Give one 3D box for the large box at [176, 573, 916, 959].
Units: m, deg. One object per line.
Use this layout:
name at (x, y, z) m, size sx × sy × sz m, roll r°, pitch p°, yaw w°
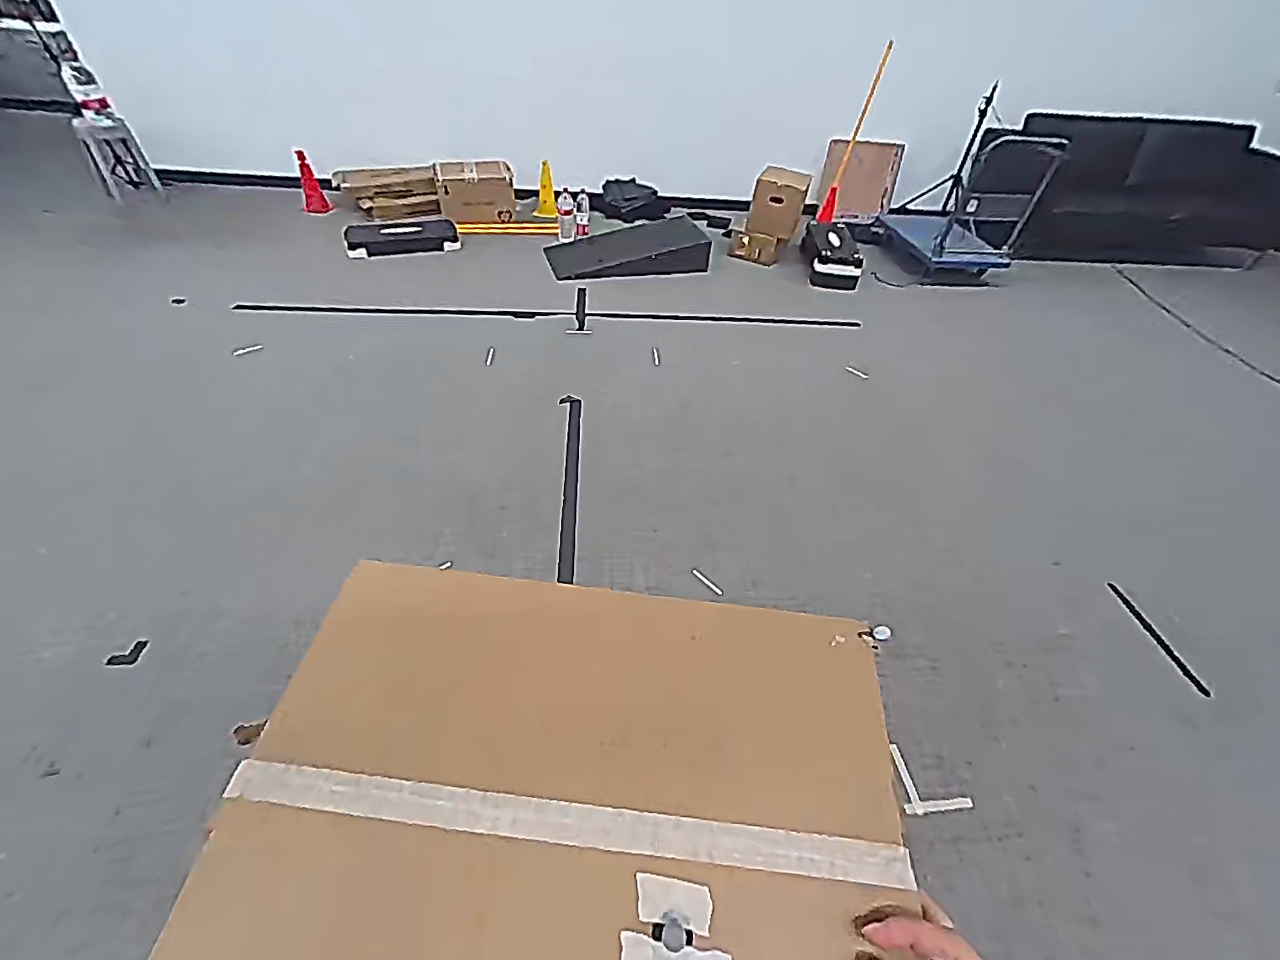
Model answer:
large box at (-0.048, 0.305, 0.448) m, size 0.408 × 0.320 × 0.320 m, roll 7°, pitch 51°, yaw 2°
